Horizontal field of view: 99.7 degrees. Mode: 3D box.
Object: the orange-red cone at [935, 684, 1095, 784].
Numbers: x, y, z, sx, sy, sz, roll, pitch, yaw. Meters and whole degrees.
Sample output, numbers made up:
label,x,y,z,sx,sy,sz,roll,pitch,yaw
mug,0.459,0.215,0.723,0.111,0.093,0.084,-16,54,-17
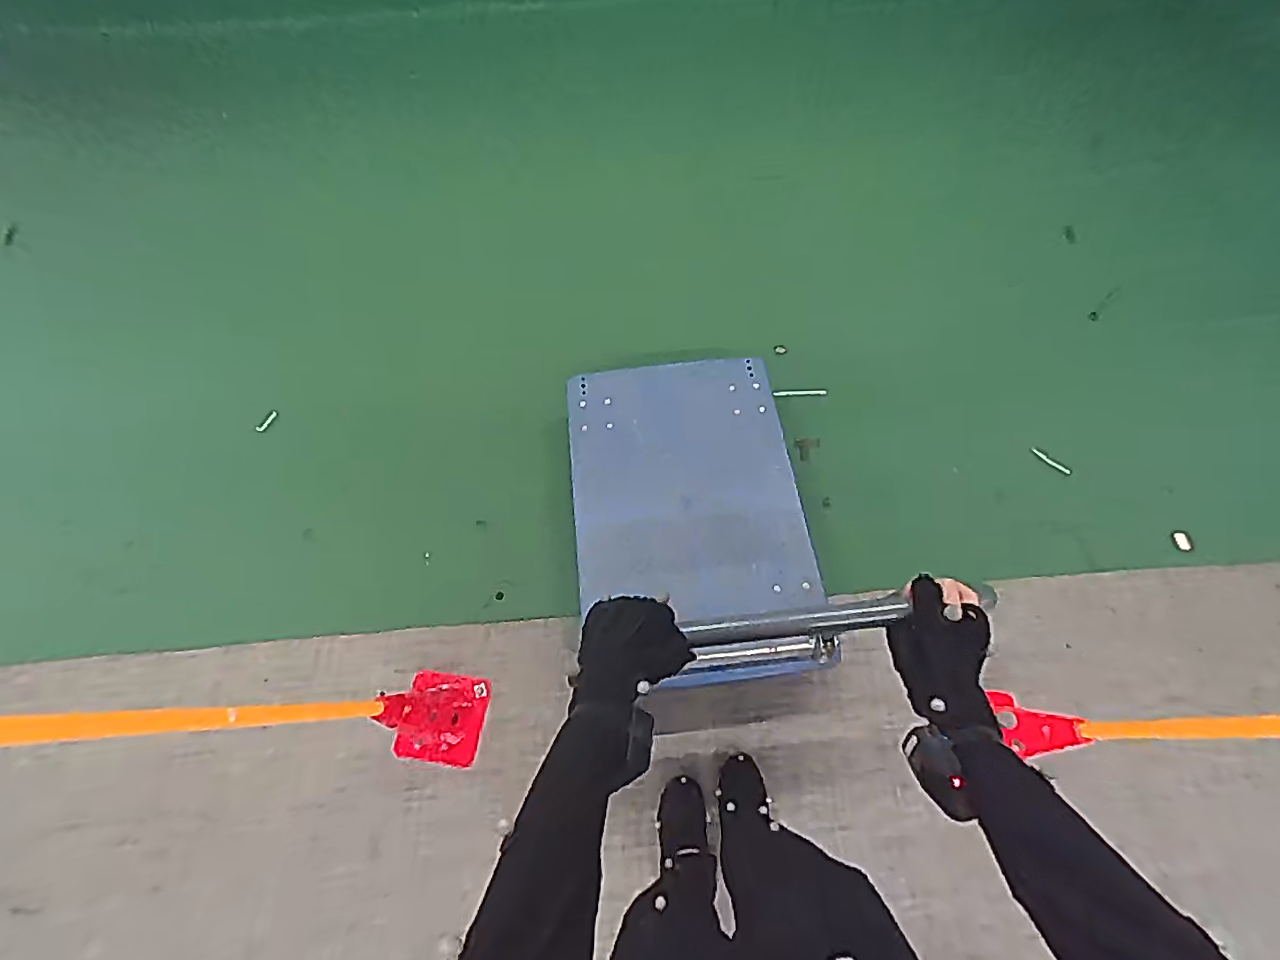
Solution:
label,x,y,z,sx,sy,sz,roll,pitch,yaw
orange-red cone,0.803,0.526,1.127,0.198,0.360,0.199,6,65,5
